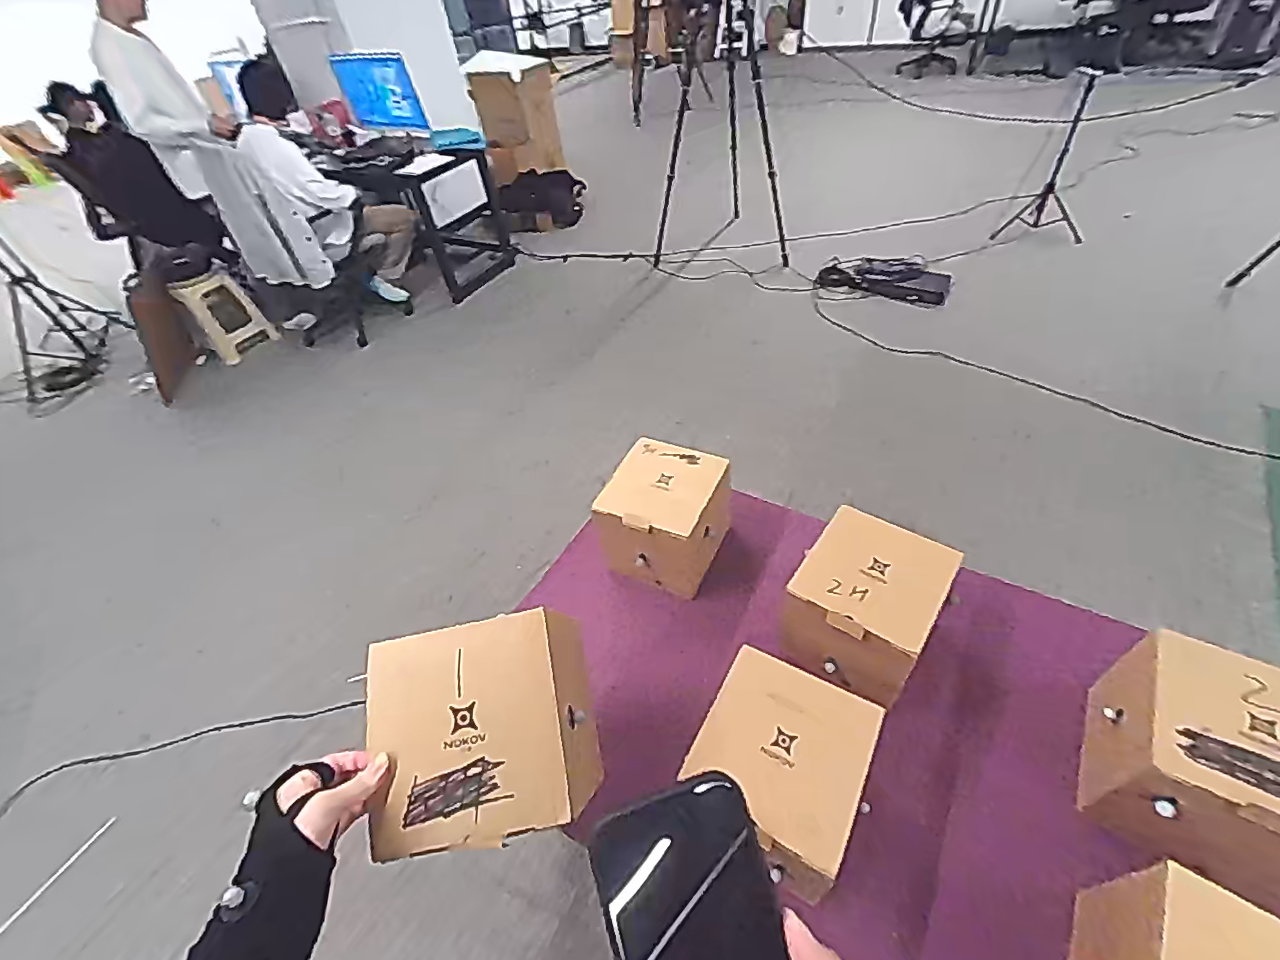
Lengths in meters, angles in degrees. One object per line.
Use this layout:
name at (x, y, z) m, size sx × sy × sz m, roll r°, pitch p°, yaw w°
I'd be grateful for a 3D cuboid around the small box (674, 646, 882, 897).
small box at (0.156, 0.333, 0.620) m, size 0.168 × 0.176 × 0.179 m, roll 20°, pitch 51°, yaw 26°

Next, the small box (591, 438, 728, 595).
small box at (0.043, 0.062, 0.903) m, size 0.168 × 0.176 × 0.179 m, roll 17°, pitch 52°, yaw 23°

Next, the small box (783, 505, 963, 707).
small box at (0.310, 0.173, 0.750) m, size 0.168 × 0.176 × 0.179 m, roll 26°, pitch 56°, yaw 31°

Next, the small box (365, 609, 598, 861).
small box at (-0.145, 0.235, 0.536) m, size 0.168 × 0.176 × 0.179 m, roll -13°, pitch 71°, yaw 1°

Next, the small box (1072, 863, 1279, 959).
small box at (0.474, 0.464, 0.437) m, size 0.168 × 0.176 × 0.179 m, roll 24°, pitch 54°, yaw 29°
